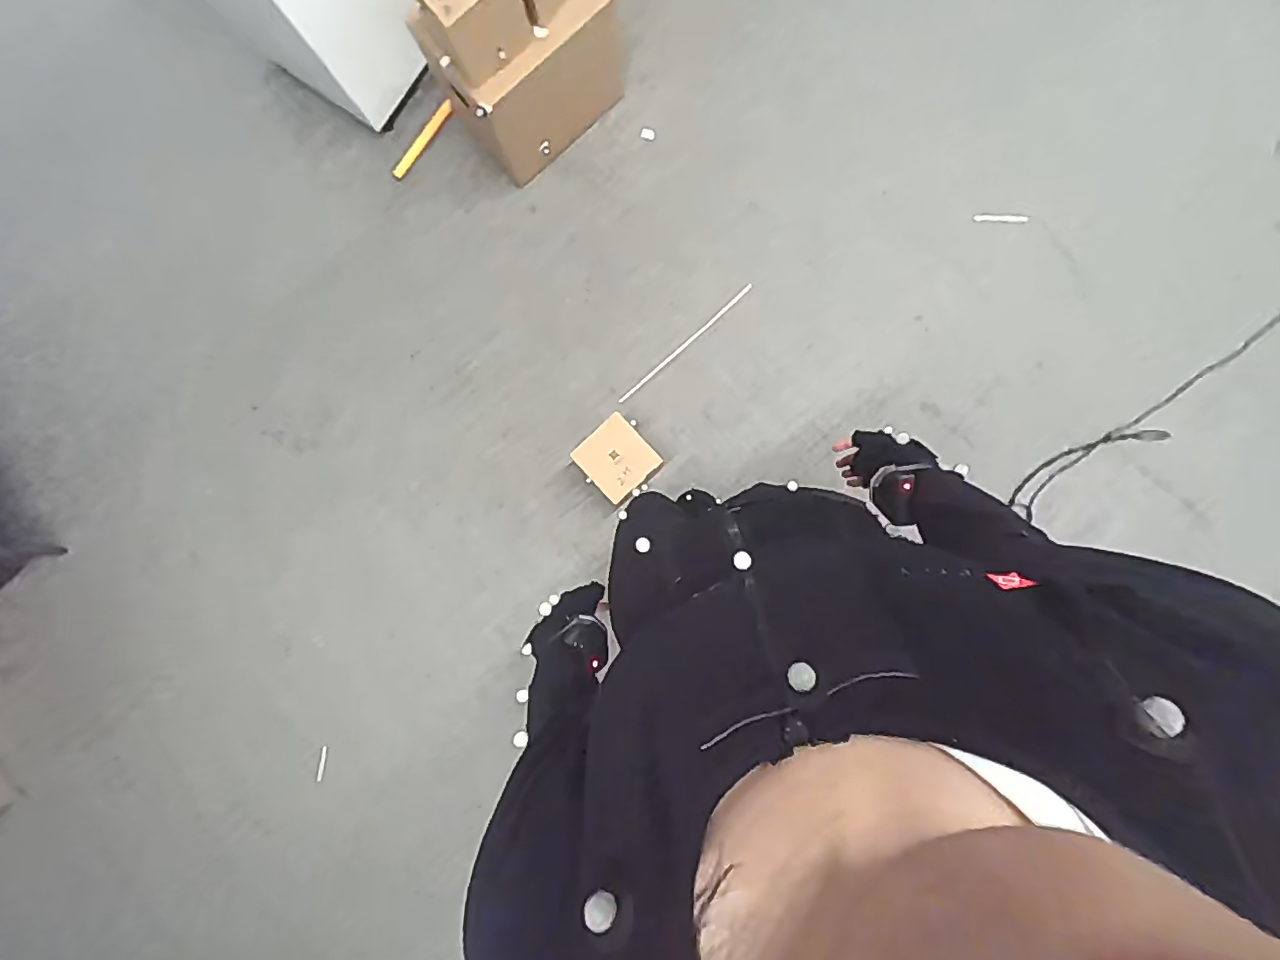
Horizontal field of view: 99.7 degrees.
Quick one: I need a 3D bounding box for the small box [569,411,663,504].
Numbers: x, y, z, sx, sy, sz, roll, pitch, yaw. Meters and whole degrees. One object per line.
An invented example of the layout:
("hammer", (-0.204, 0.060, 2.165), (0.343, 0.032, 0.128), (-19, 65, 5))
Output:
("small box", (-0.057, -0.051, 1.411), (0.168, 0.176, 0.179), (-43, 86, 1))
